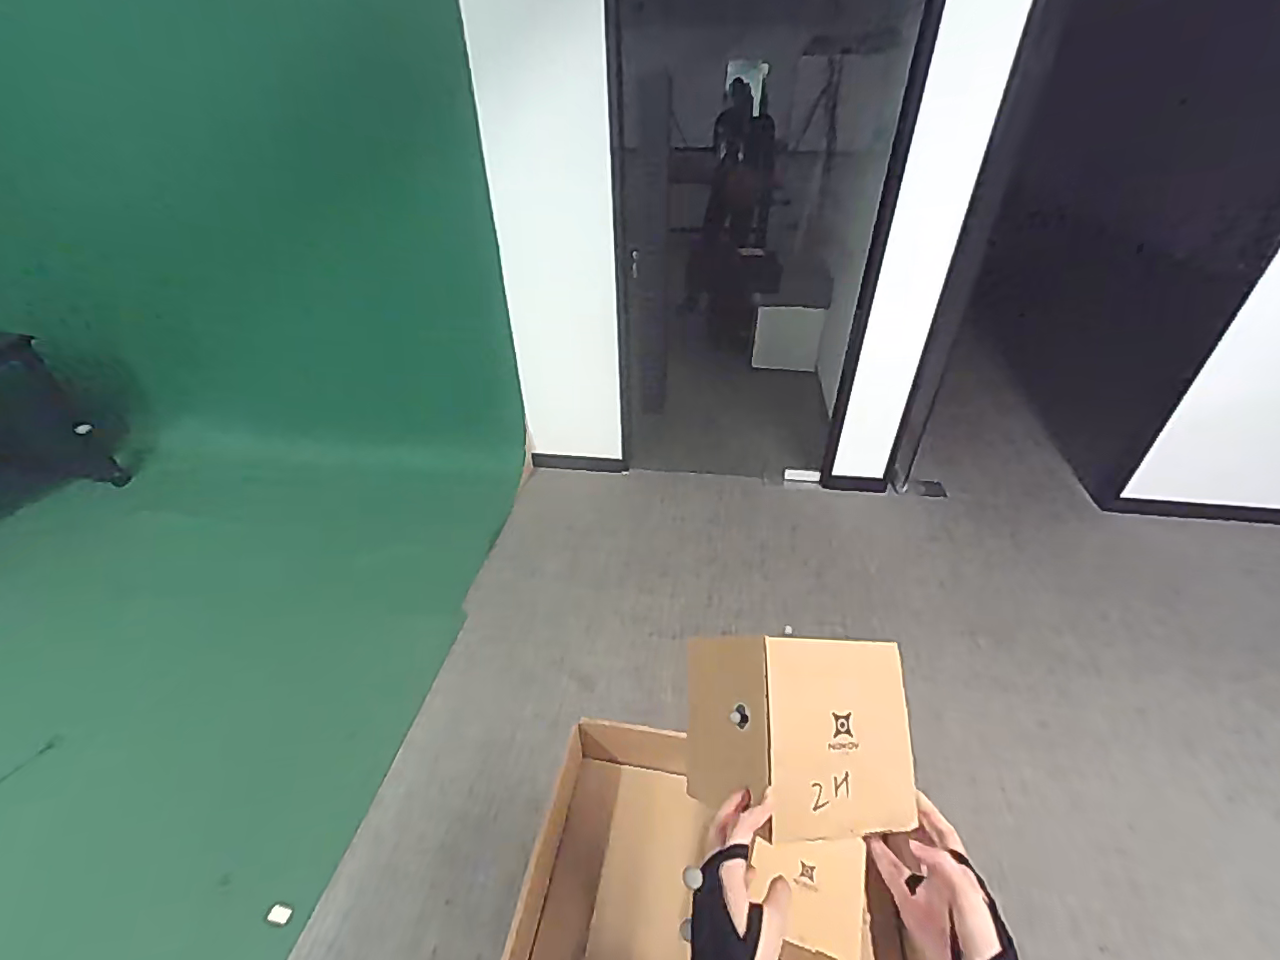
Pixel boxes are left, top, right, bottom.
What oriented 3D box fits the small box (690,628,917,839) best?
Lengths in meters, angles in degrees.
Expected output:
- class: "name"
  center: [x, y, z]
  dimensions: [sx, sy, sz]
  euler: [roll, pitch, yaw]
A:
- class: "small box"
  center: [0.161, 0.254, 0.580]
  dimensions: [0.168, 0.176, 0.179]
  euler: [8, 73, -18]
